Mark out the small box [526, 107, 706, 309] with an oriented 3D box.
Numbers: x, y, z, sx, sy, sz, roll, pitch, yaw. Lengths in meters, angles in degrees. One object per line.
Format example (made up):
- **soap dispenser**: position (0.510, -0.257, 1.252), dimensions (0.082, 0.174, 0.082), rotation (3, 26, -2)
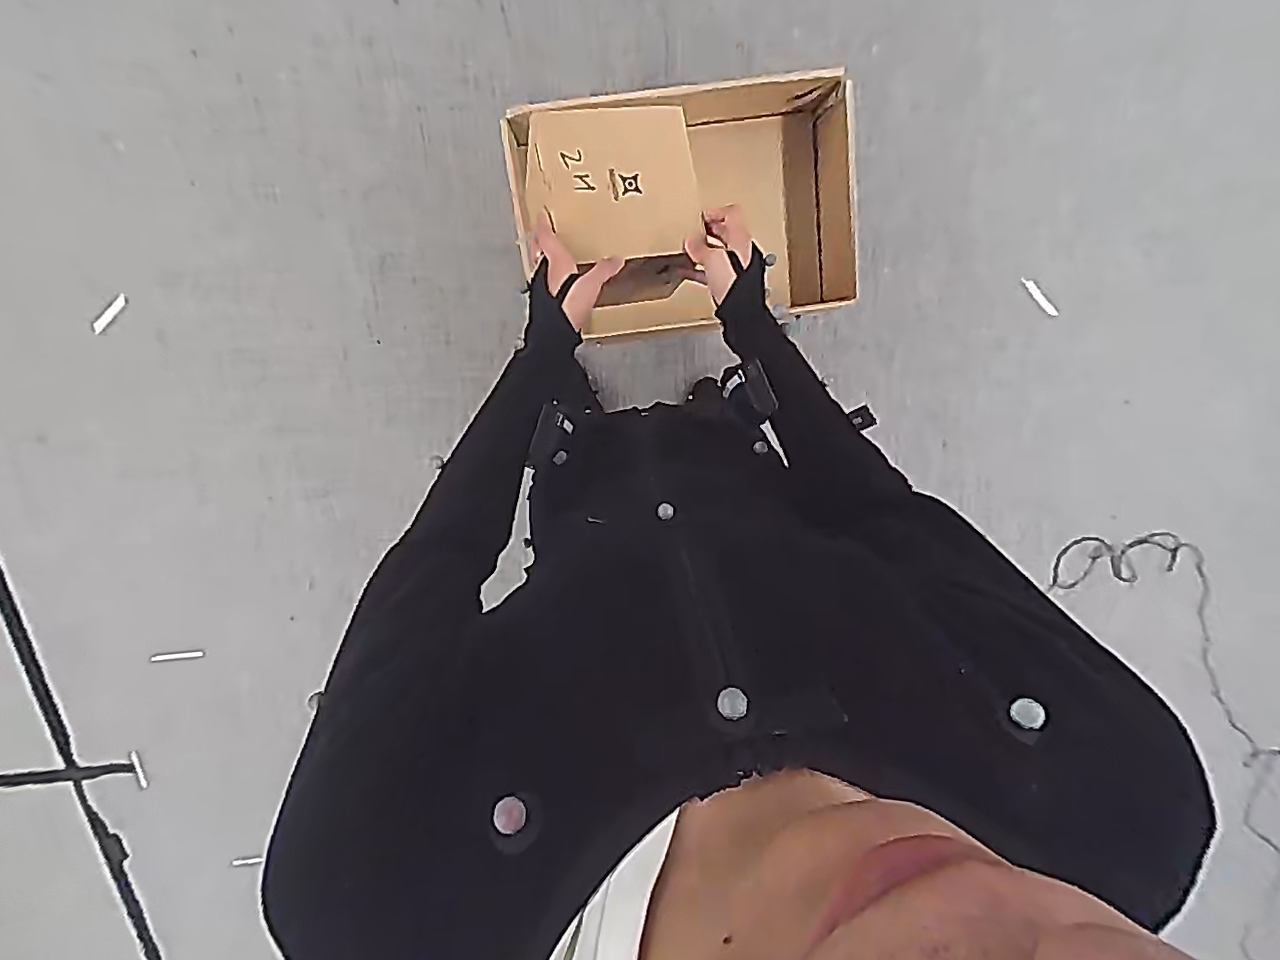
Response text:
- **small box**: position (-0.039, -0.323, 0.668), dimensions (0.179, 0.176, 0.168), rotation (-11, 93, -13)
